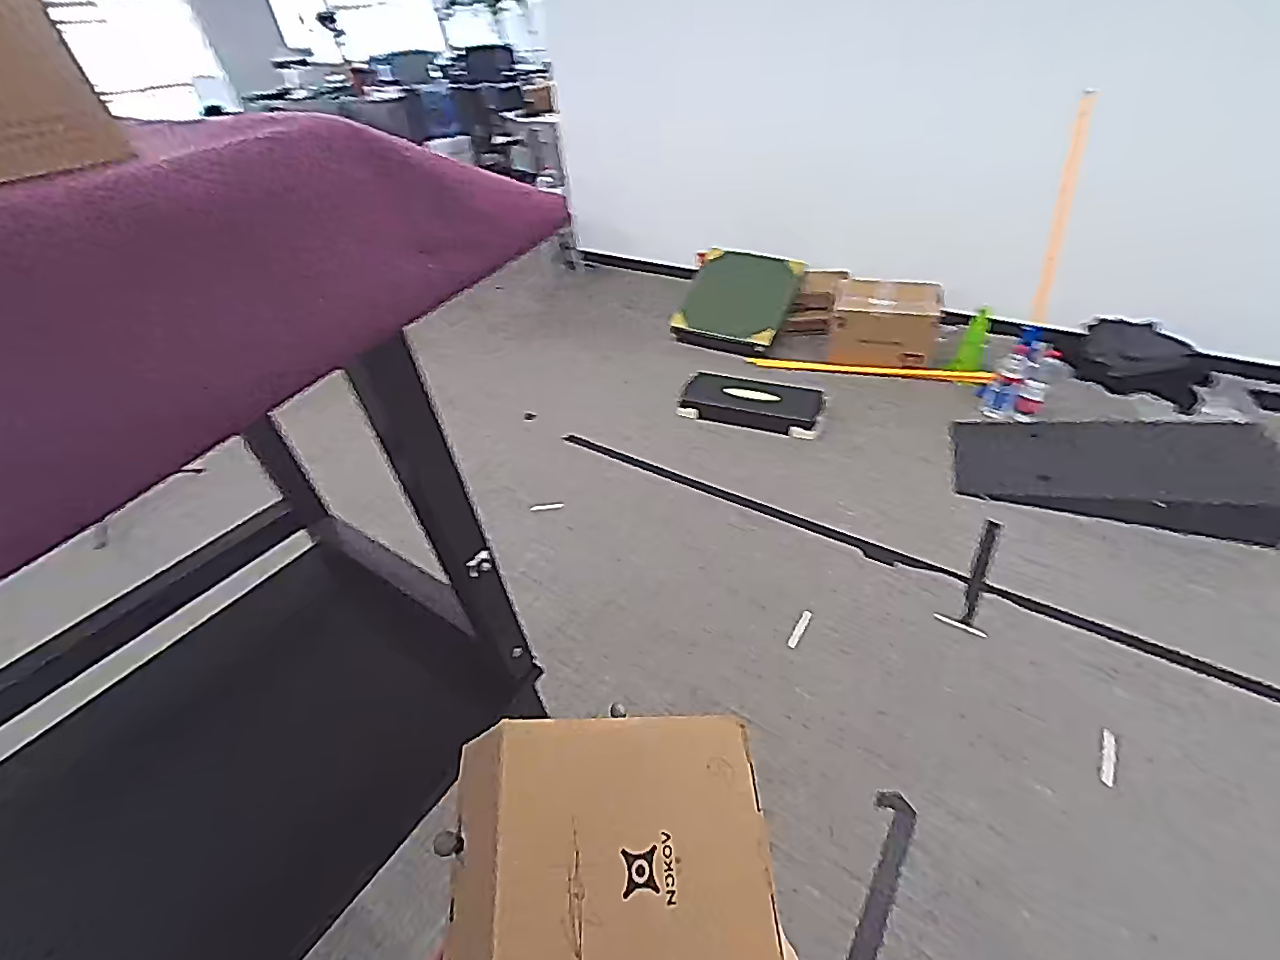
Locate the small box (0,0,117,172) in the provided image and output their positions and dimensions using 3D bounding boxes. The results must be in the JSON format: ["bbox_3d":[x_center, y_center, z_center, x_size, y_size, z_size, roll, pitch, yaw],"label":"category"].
[{"bbox_3d":[-0.461,-0.270,0.310,0.168,0.176,0.179,22,48,30],"label":"small box"}]
